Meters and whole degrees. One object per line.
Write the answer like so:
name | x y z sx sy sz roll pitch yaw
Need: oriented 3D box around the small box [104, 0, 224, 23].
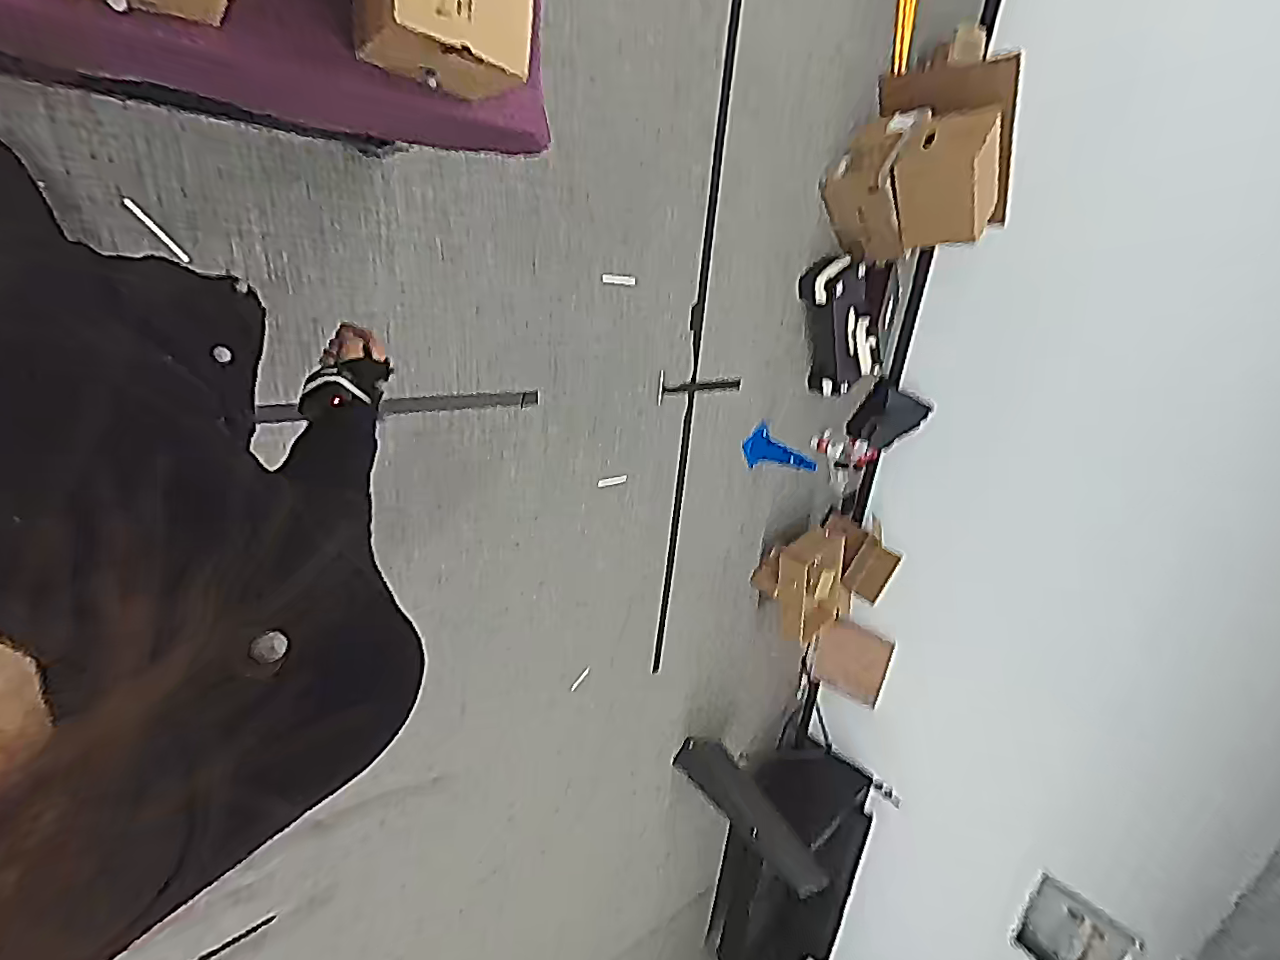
small box | -0.488 -0.549 0.475 0.168 0.176 0.179 -16 121 -37
